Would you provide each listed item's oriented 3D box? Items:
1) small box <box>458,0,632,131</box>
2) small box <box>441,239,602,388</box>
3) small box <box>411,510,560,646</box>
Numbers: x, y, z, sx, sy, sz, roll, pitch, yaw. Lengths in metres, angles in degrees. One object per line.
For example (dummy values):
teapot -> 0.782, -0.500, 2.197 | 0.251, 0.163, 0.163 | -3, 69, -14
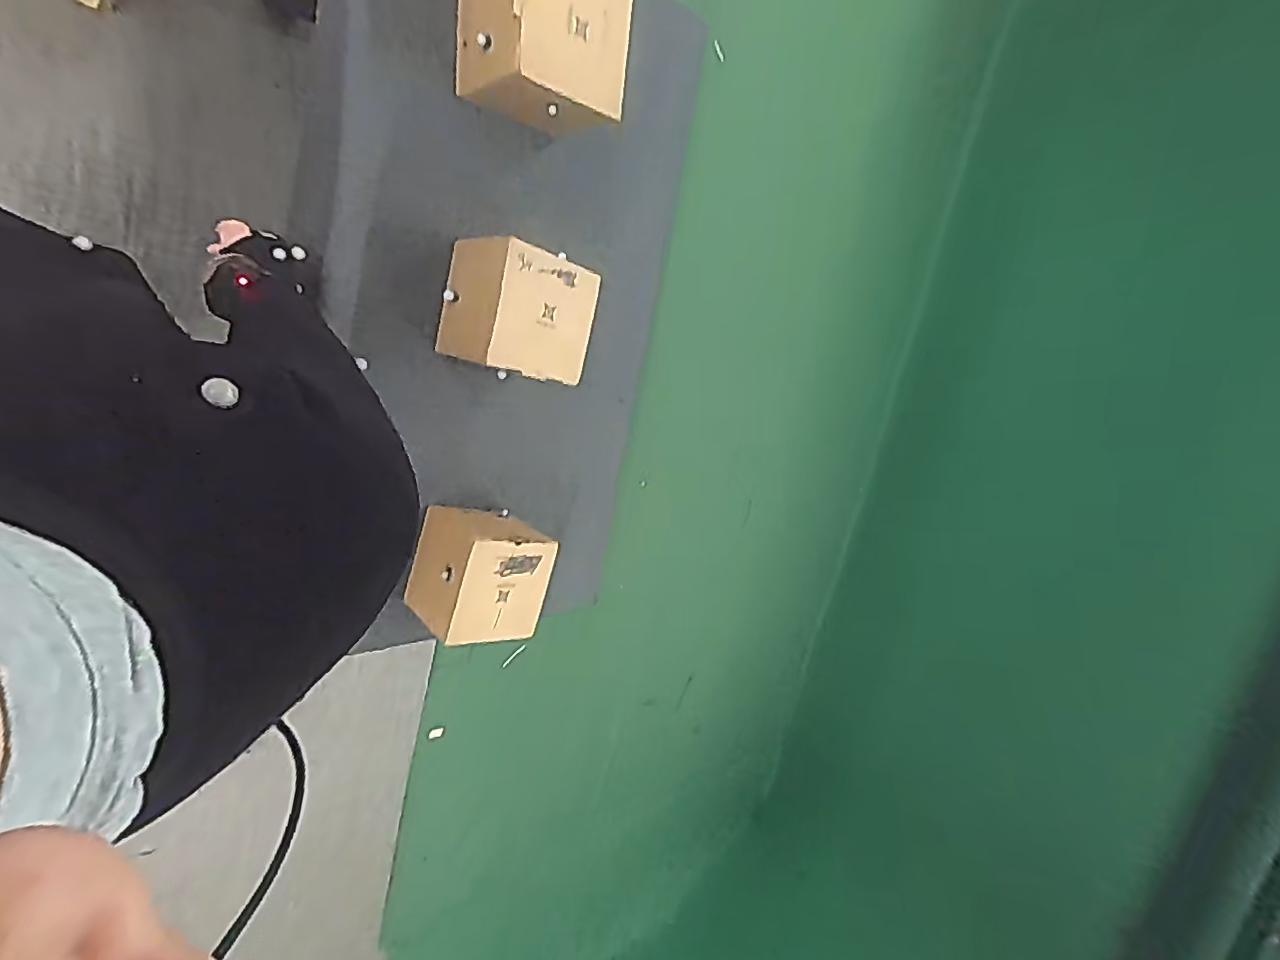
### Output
small box -> -0.137, -0.612, 0.755 | 0.179, 0.176, 0.168 | -10, 115, -45
small box -> -0.190, -0.256, 0.843 | 0.168, 0.176, 0.179 | 5, 103, -46
small box -> -0.268, 0.160, 0.927 | 0.168, 0.176, 0.179 | 11, 98, -46
